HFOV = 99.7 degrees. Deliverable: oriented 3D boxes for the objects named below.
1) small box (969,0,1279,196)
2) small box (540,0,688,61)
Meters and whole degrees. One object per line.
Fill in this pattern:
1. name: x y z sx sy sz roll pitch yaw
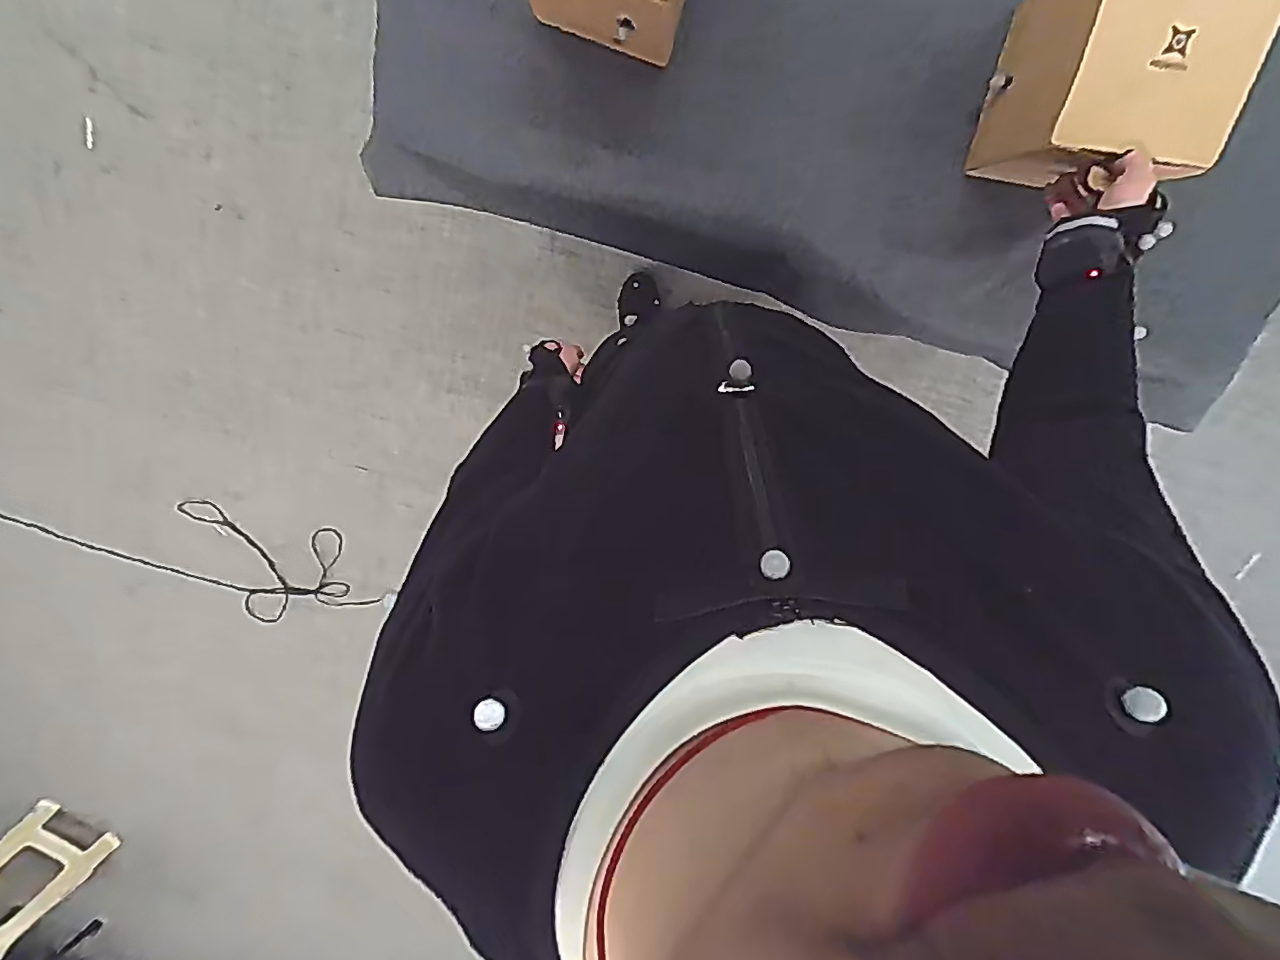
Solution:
1. small box: 0.497 -0.421 0.585 0.168 0.176 0.179 9 111 -2
2. small box: -0.018 -0.574 0.548 0.168 0.176 0.179 17 109 -6
